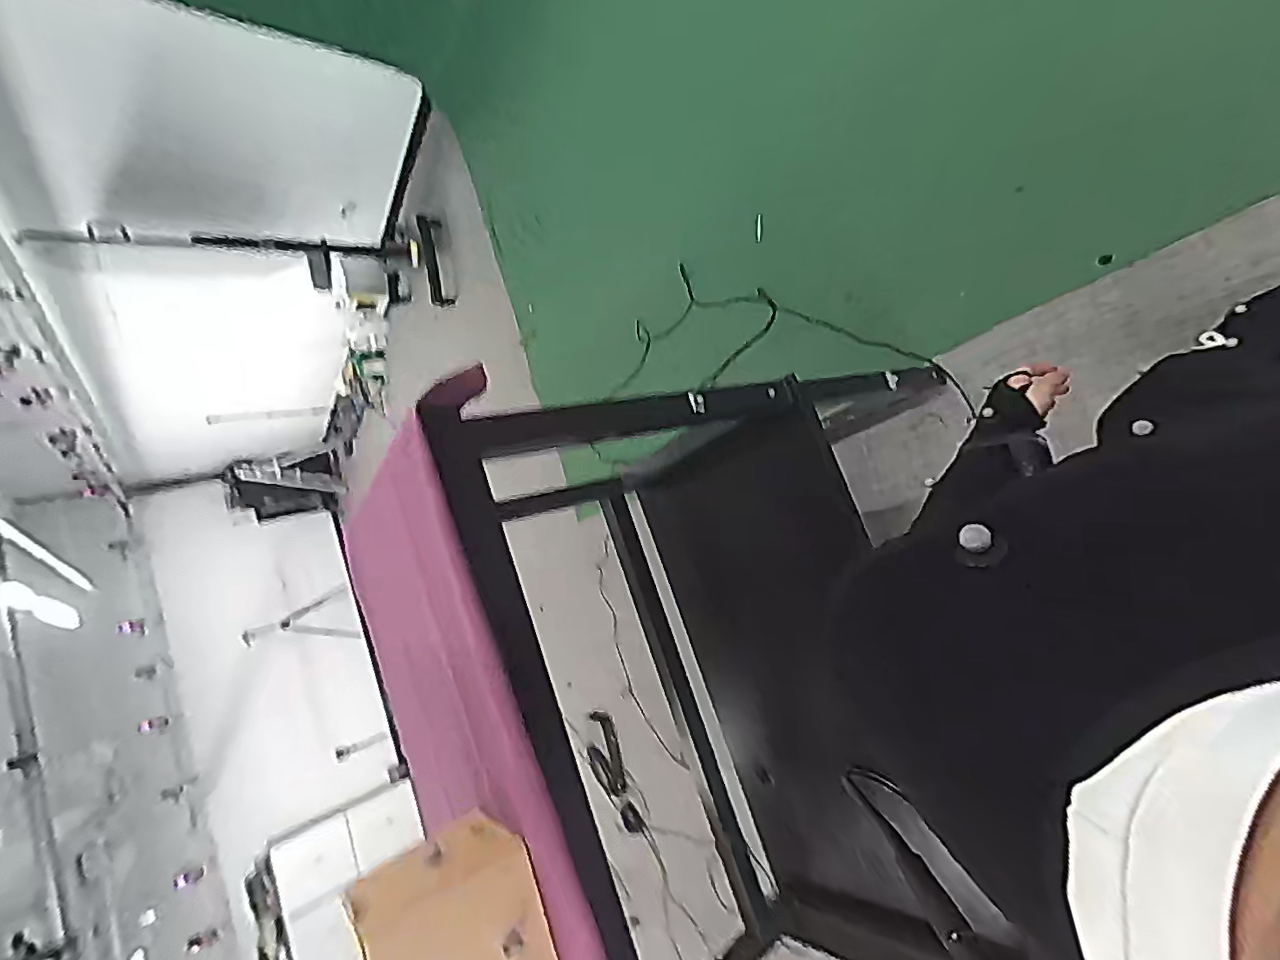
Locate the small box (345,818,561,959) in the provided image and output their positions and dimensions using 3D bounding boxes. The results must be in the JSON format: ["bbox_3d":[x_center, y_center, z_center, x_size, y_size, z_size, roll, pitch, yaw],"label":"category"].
[{"bbox_3d":[-0.202,0.509,0.592,0.168,0.176,0.179,-30,77,52],"label":"small box"}]
